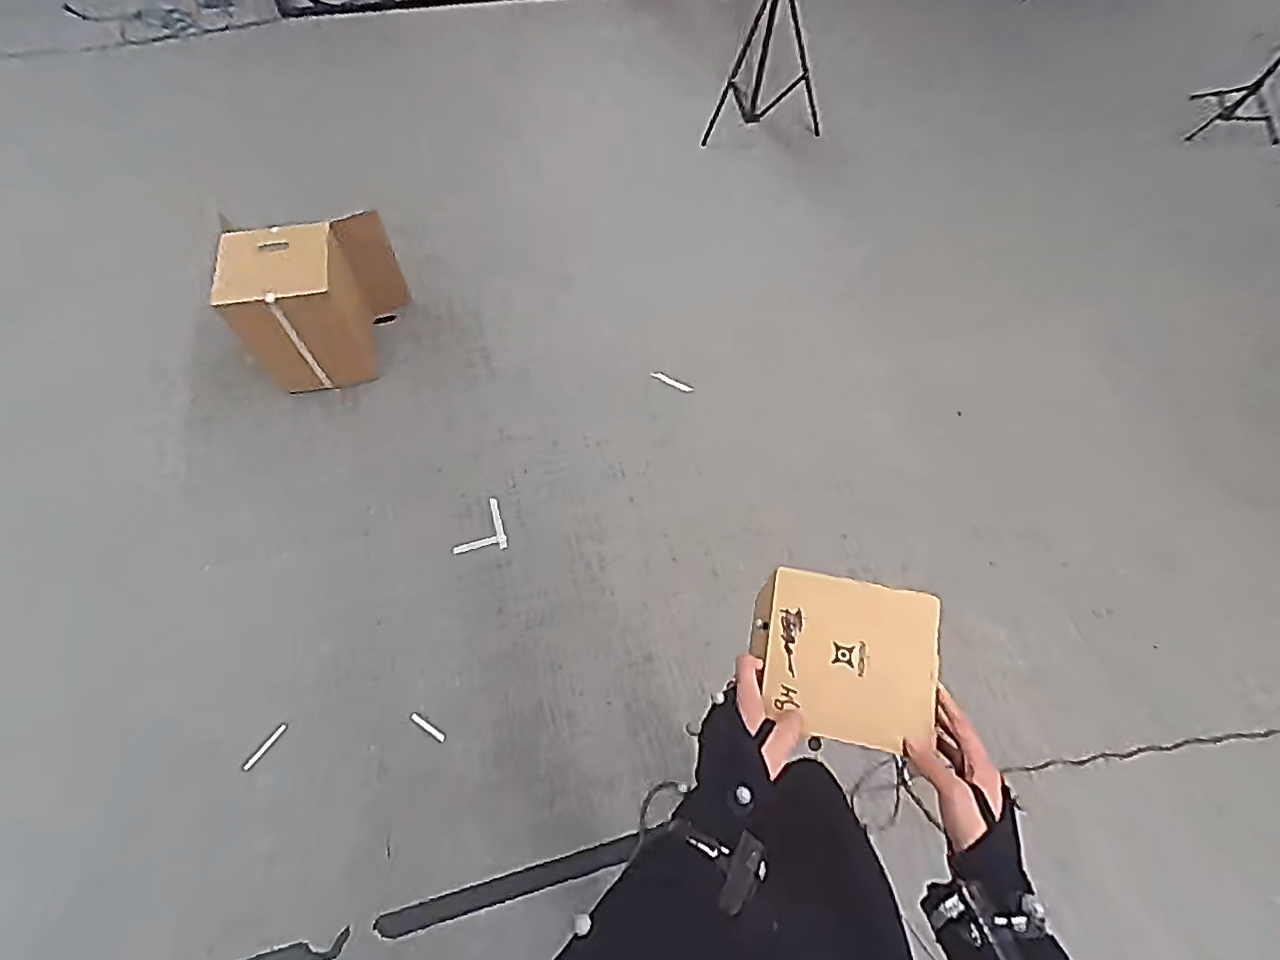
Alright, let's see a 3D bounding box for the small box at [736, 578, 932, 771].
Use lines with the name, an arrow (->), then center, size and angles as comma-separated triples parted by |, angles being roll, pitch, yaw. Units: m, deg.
small box -> 0.221, 0.227, 0.647 | 0.179, 0.176, 0.168 | 10, 70, 8
